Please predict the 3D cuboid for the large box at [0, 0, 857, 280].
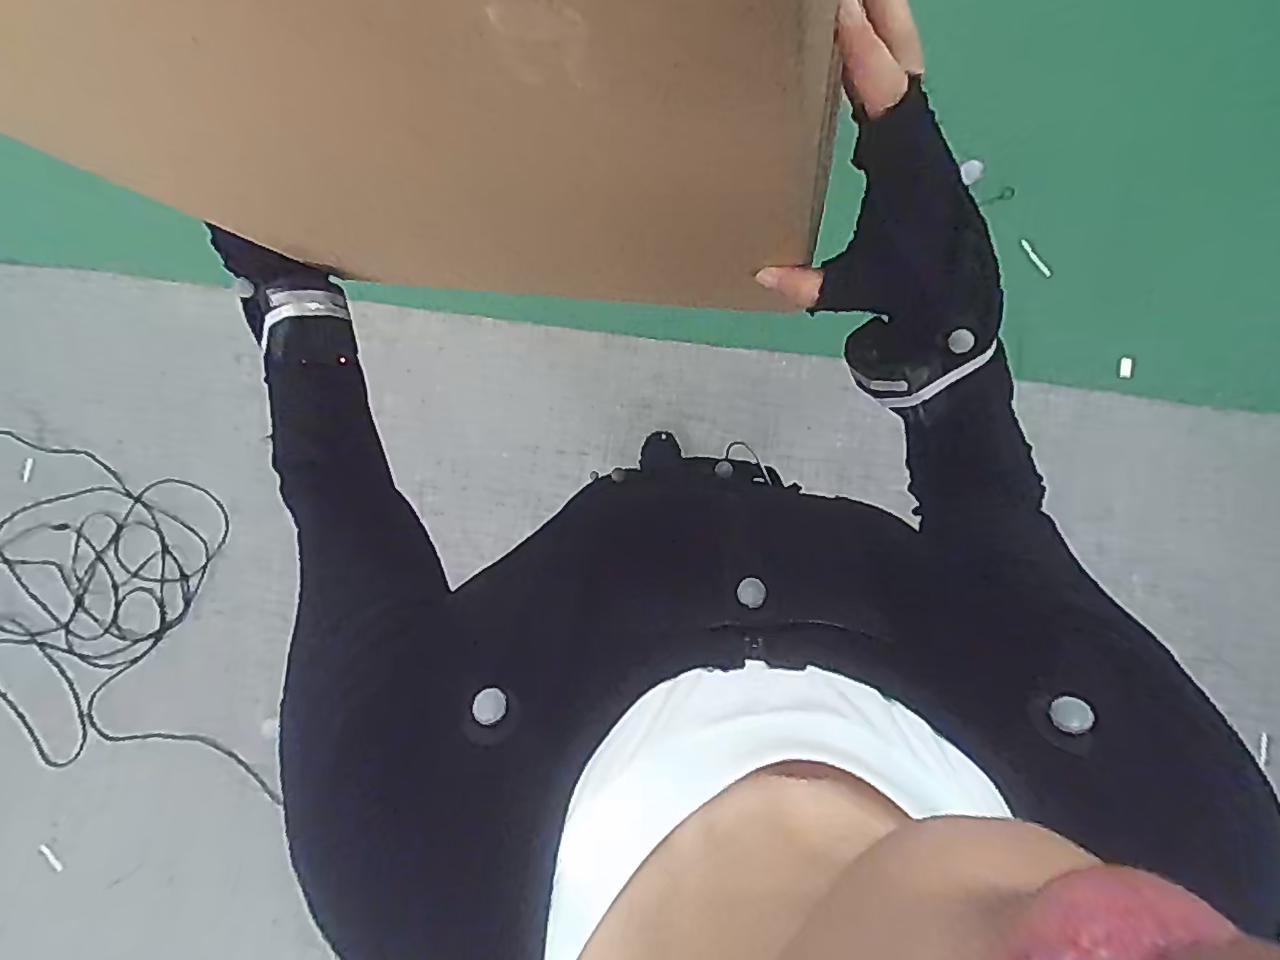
[{"bbox_3d":[-0.091,-0.314,0.275,0.408,0.320,0.320,10,94,15],"label":"large box"}]
